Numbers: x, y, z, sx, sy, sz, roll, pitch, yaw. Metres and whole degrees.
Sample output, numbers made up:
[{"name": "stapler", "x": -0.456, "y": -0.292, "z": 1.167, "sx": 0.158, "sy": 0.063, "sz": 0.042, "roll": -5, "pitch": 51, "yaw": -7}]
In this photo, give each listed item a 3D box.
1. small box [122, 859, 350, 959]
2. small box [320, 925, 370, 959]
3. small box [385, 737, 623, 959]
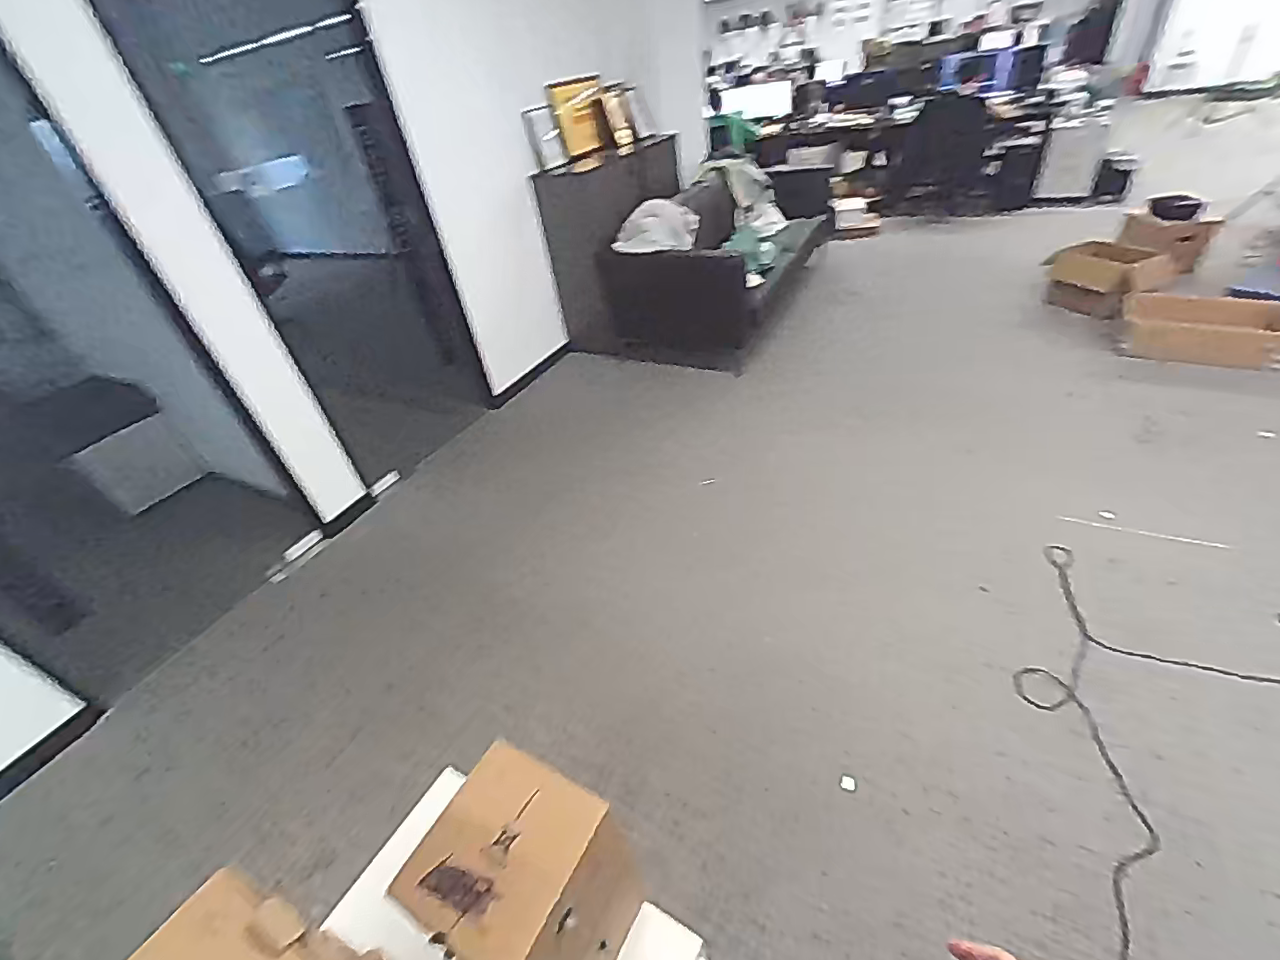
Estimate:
[{"name": "small box", "x": -0.294, "y": 0.431, "z": 0.383, "sx": 0.168, "sy": 0.176, "sz": 0.179, "roll": 12, "pitch": 40, "yaw": 28}, {"name": "small box", "x": -0.276, "y": 0.563, "z": 0.476, "sx": 0.168, "sy": 0.176, "sz": 0.179, "roll": 14, "pitch": 39, "yaw": 29}, {"name": "small box", "x": -0.135, "y": 0.439, "z": 0.607, "sx": 0.168, "sy": 0.176, "sz": 0.179, "roll": 14, "pitch": 43, "yaw": 28}]
